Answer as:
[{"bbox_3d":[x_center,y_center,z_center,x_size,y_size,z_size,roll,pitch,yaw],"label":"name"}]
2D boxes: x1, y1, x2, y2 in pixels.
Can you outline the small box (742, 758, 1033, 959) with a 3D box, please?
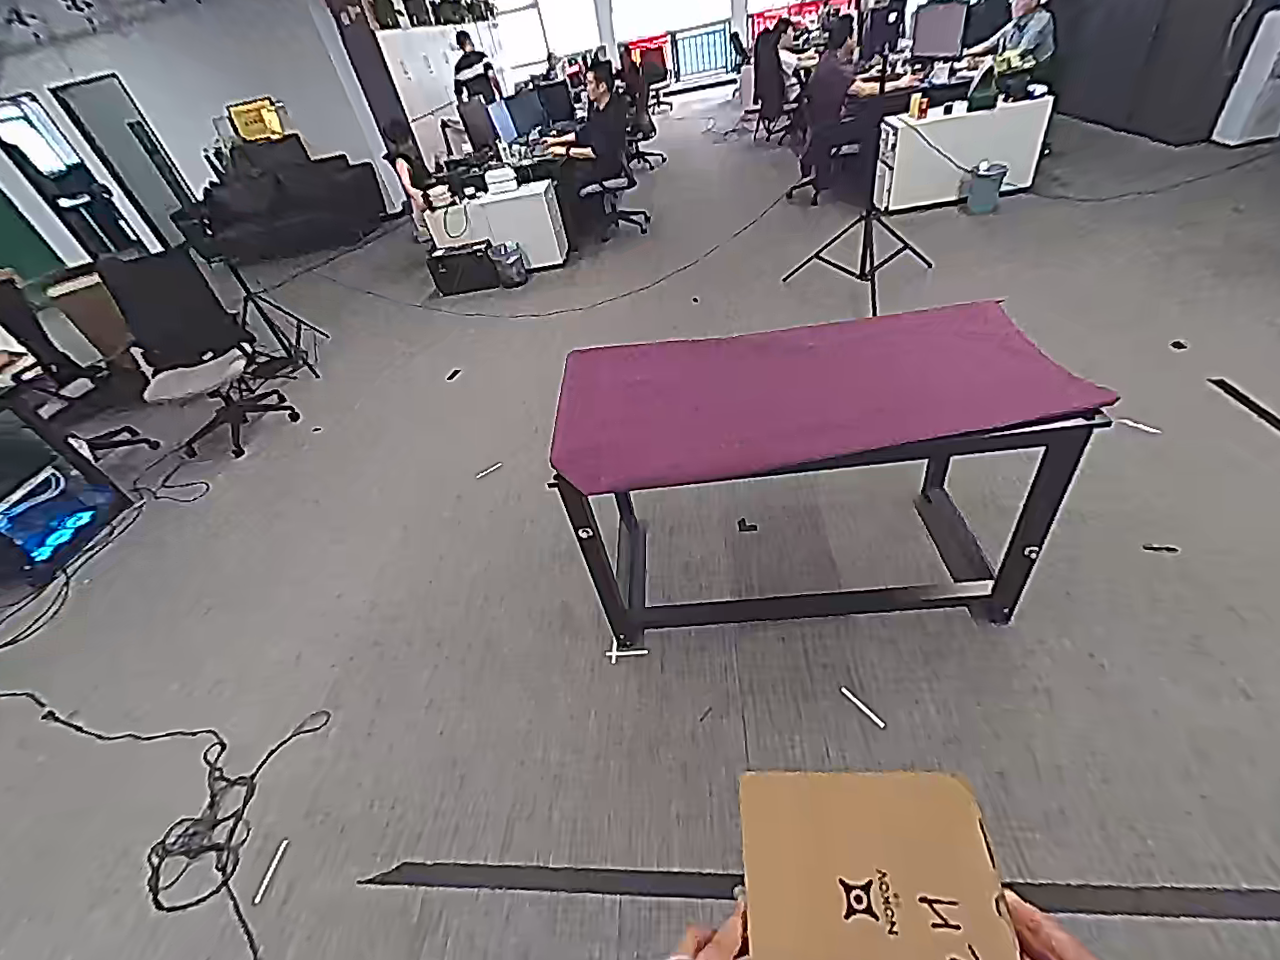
[{"bbox_3d":[0.181,0.334,0.434,0.179,0.176,0.168,-5,50,11],"label":"small box"}]
